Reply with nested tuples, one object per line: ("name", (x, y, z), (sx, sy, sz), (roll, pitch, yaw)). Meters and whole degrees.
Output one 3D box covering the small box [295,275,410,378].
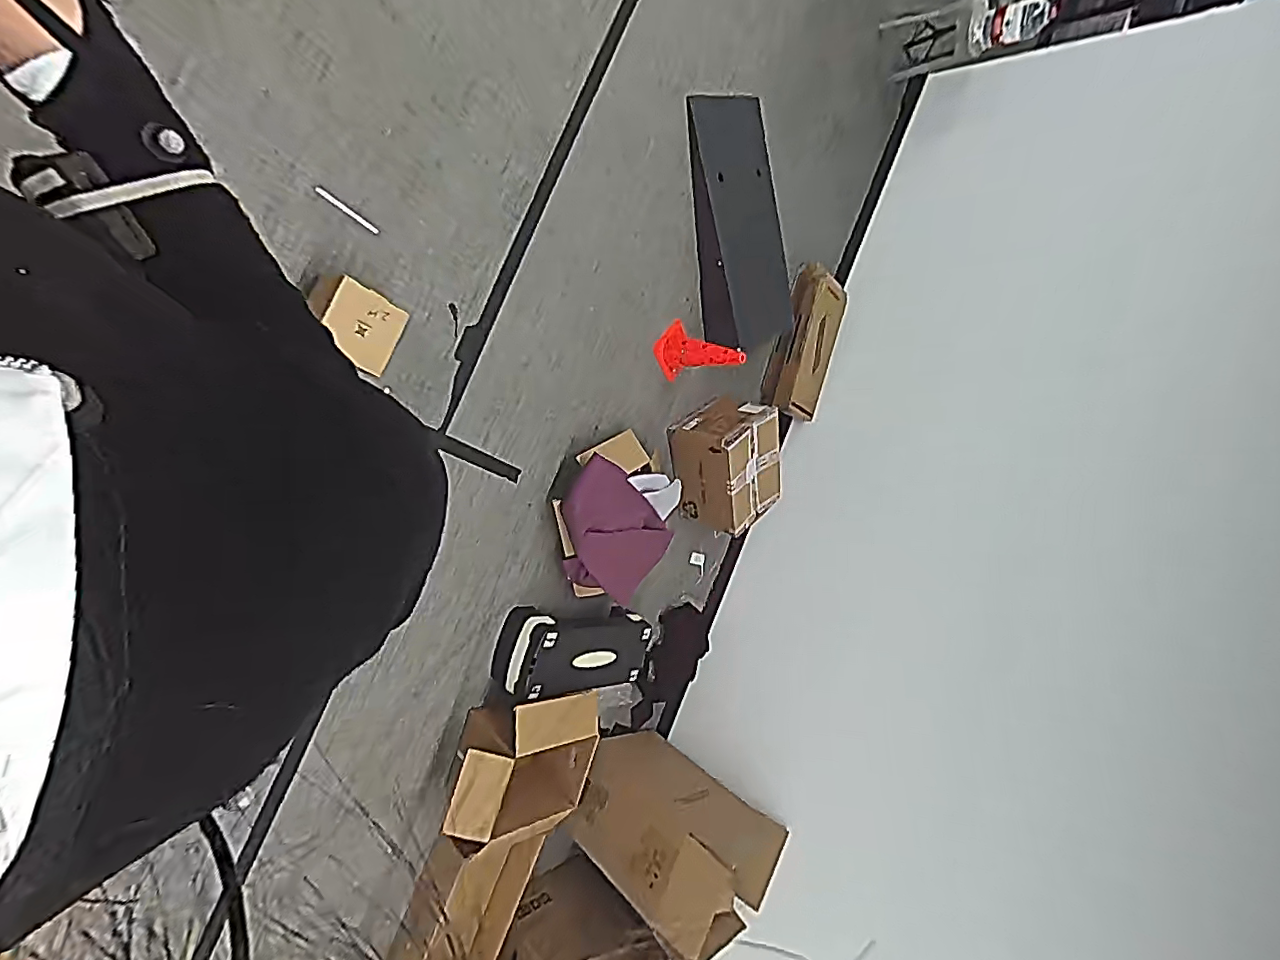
("small box", (-0.697, -0.368, 1.300), (0.168, 0.176, 0.179), (30, 81, -50))
